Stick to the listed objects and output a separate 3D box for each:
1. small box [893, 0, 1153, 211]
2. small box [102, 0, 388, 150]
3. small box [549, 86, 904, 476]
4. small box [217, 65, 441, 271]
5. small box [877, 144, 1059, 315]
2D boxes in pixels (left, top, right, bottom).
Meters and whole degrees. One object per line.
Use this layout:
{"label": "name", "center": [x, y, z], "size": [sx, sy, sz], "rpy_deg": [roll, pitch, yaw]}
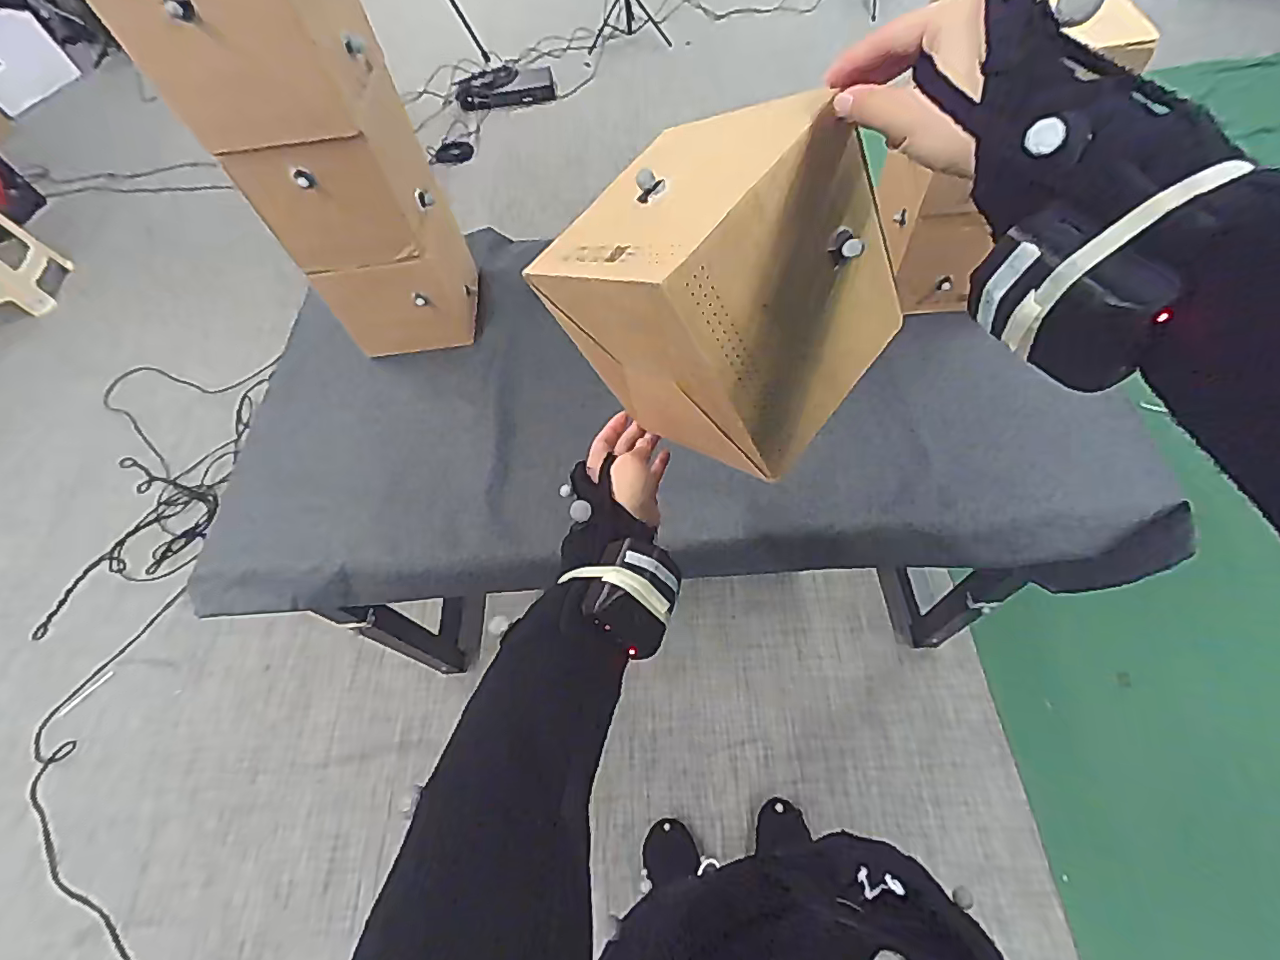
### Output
{"label": "small box", "center": [0.415, -0.435, 0.627], "size": [0.168, 0.176, 0.179], "rpy_deg": [-2, 62, 6]}
{"label": "small box", "center": [-0.393, -0.467, 0.553], "size": [0.179, 0.176, 0.168], "rpy_deg": [-5, 61, 2]}
{"label": "small box", "center": [0.057, -0.132, 0.398], "size": [0.176, 0.179, 0.168], "rpy_deg": [-49, 40, -10]}
{"label": "small box", "center": [-0.382, -0.394, 0.700], "size": [0.179, 0.176, 0.168], "rpy_deg": [-7, 61, 1]}
{"label": "small box", "center": [0.436, -0.360, 0.771], "size": [0.168, 0.176, 0.179], "rpy_deg": [-2, 61, 6]}
